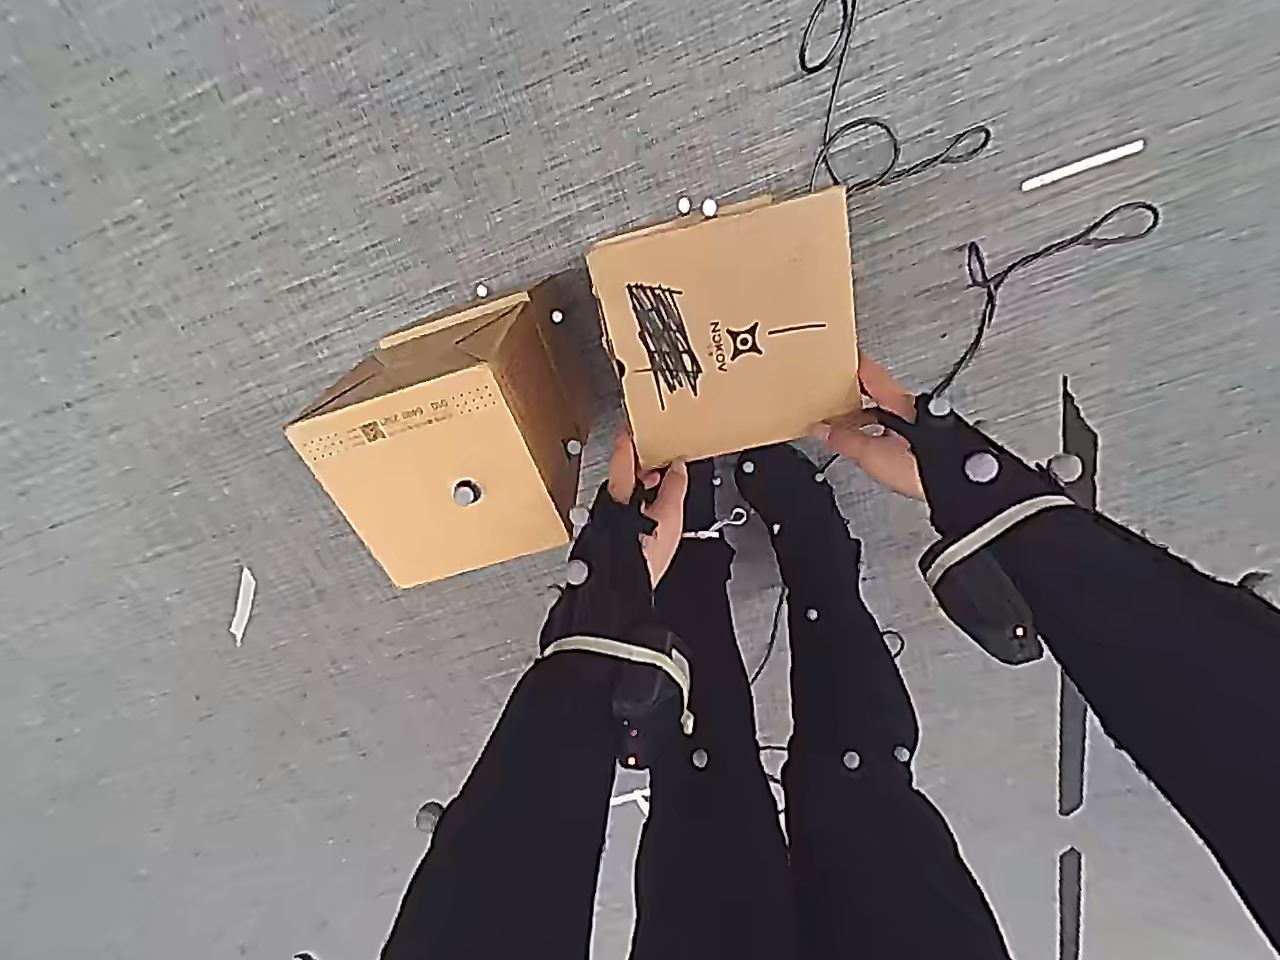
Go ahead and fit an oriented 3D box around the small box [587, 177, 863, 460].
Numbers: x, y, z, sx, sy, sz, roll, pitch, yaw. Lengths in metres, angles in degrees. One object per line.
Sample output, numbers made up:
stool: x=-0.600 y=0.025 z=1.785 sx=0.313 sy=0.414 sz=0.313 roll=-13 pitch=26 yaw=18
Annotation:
small box: x=0.066 y=-0.133 z=0.456 sx=0.179 sy=0.176 sz=0.168 roll=-12 pitch=112 yaw=5
